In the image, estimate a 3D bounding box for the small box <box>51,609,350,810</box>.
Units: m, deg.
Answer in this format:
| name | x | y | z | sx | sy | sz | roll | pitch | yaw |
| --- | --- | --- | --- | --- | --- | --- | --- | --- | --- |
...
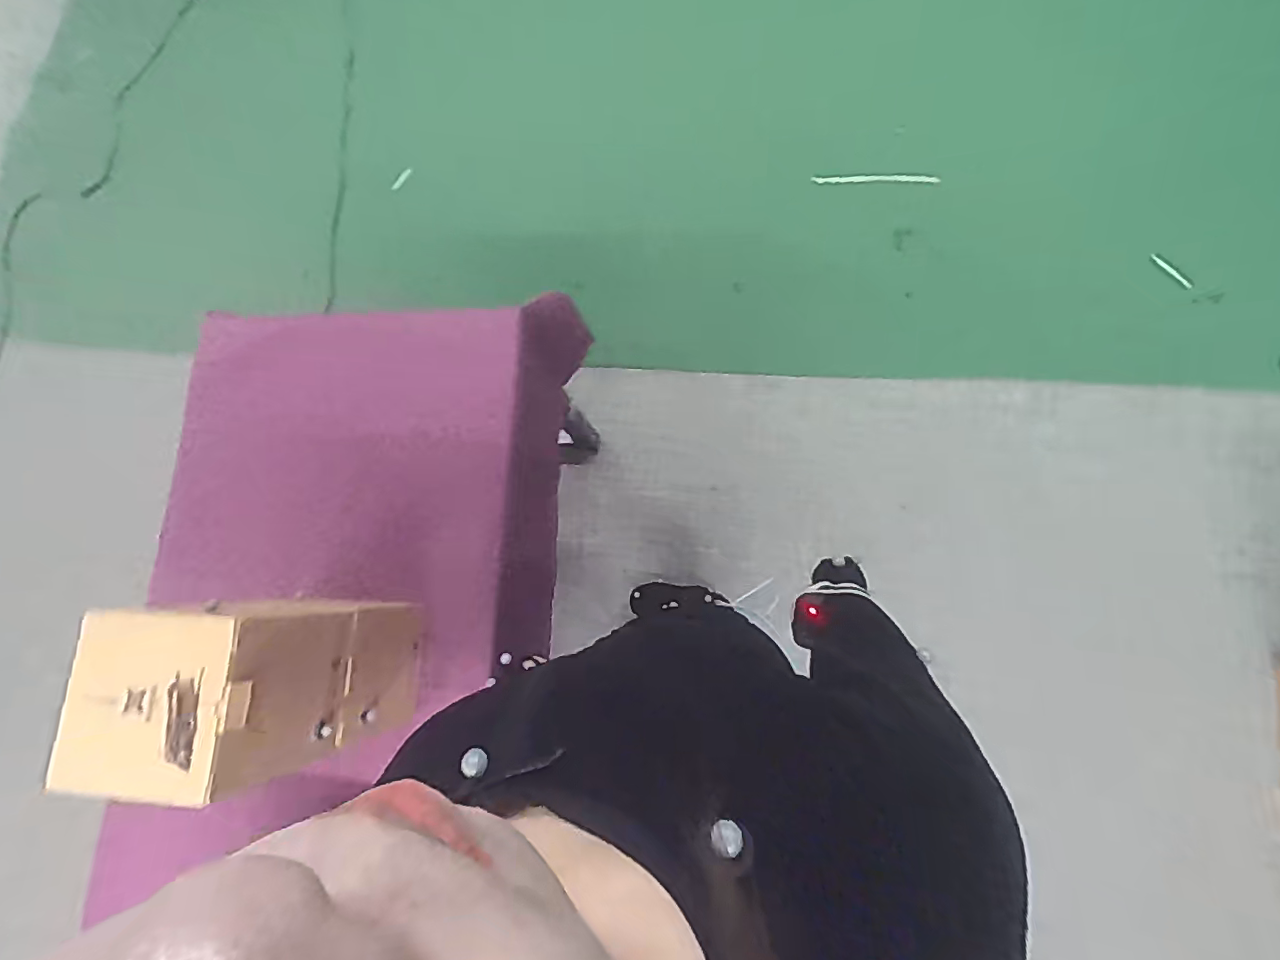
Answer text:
| name | x | y | z | sx | sy | sz | roll | pitch | yaw |
| --- | --- | --- | --- | --- | --- | --- | --- | --- | --- |
| small box | -0.448 | 0.228 | 0.583 | 0.179 | 0.176 | 0.168 | 0 | 78 | 9 |
